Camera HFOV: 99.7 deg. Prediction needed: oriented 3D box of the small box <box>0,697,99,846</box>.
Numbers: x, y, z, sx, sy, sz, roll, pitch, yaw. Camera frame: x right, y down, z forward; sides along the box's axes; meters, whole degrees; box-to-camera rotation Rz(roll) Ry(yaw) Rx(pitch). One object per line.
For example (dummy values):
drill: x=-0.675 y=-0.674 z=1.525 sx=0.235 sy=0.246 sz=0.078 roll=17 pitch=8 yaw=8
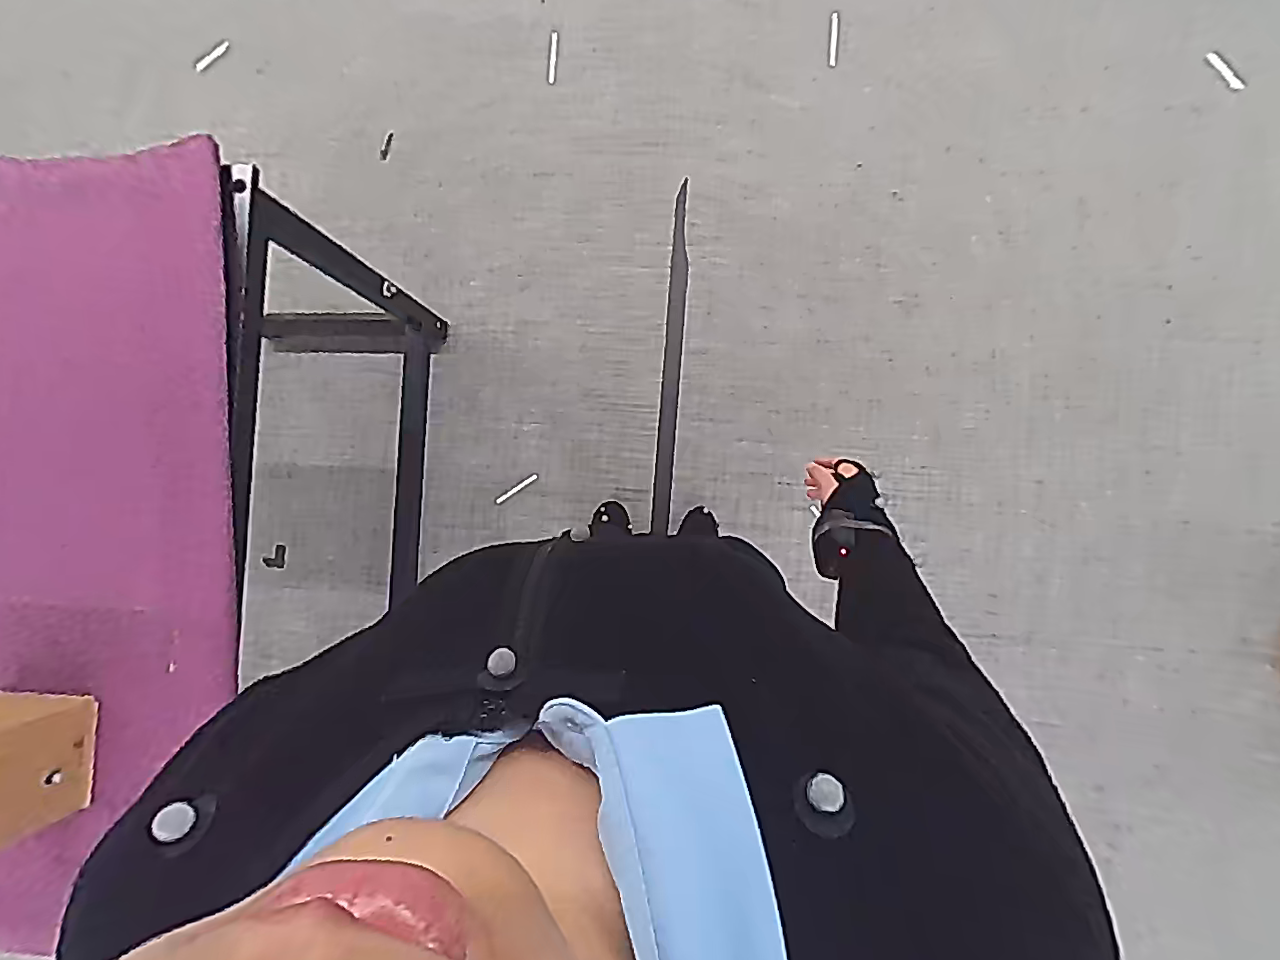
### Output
small box: x=-0.930 y=0.415 z=0.756 sx=0.179 sy=0.176 sz=0.168 roll=1 pitch=87 yaw=4
